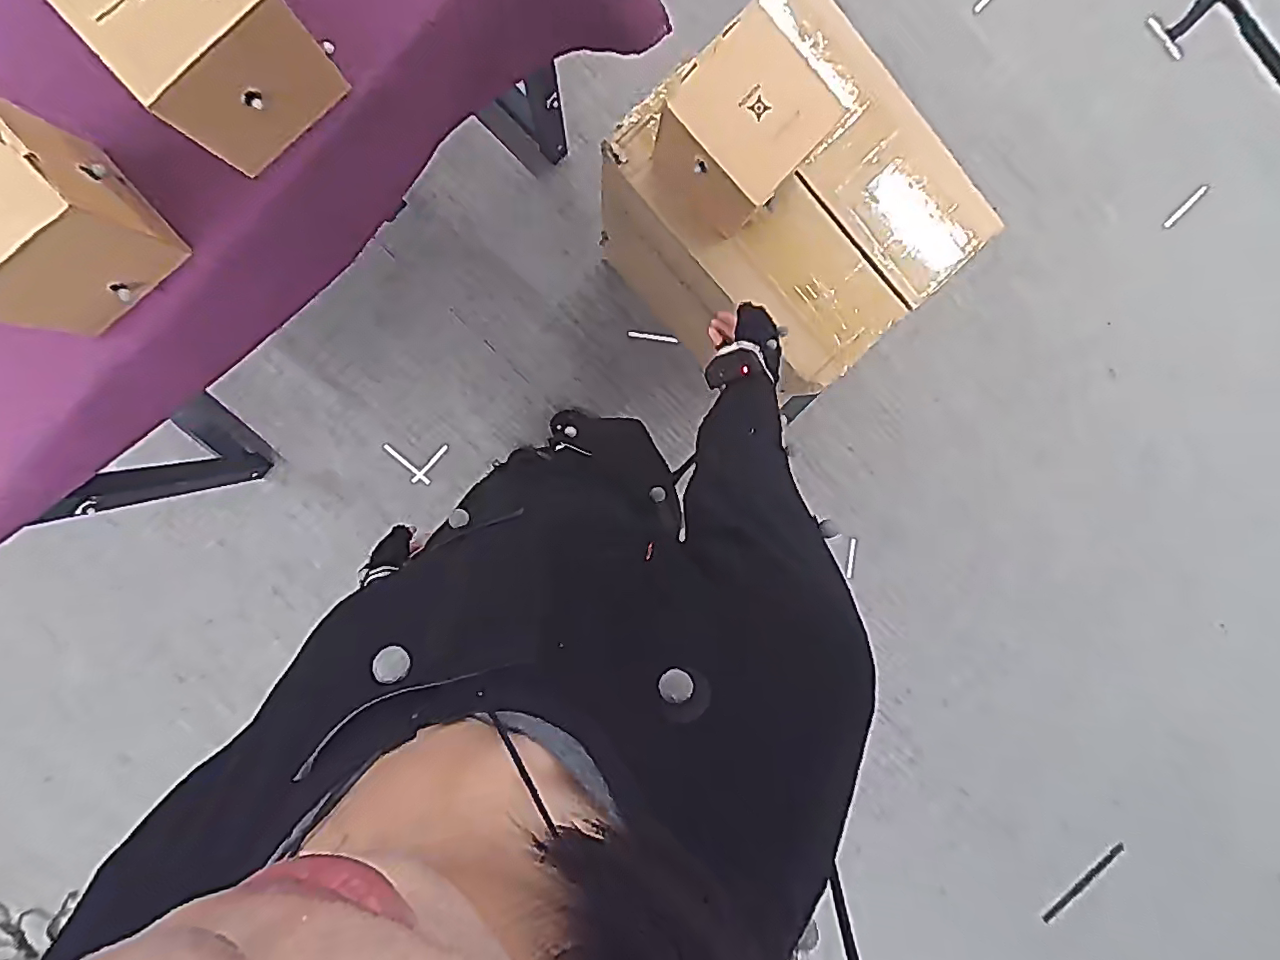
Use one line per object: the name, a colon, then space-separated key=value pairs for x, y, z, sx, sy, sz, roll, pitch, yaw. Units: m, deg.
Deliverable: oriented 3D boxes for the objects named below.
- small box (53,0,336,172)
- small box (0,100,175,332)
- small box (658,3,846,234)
small box: x=-0.479 y=-0.496 z=0.603 sx=0.179 sy=0.176 sz=0.168 roll=-40 pitch=97 yaw=2
small box: x=-0.690 y=-0.295 z=0.612 sx=0.179 sy=0.176 sz=0.168 roll=-40 pitch=97 yaw=1
small box: x=0.141 y=-0.480 z=0.755 sx=0.179 sy=0.176 sz=0.168 roll=44 pitch=95 yaw=-9
